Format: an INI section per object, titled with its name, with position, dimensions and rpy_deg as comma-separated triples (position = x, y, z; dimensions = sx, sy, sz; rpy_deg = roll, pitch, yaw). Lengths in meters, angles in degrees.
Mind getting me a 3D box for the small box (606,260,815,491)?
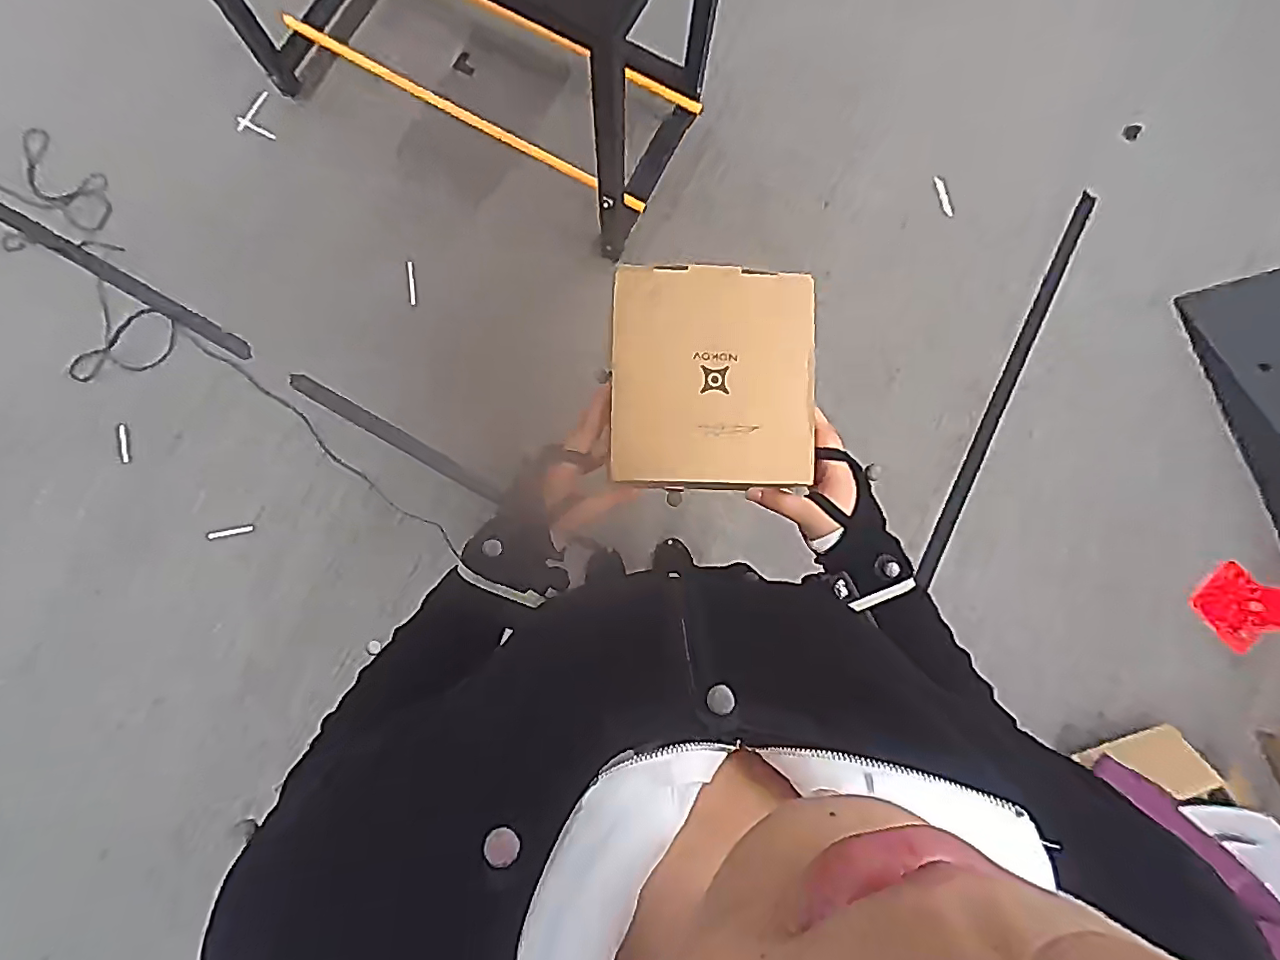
[small box]
position = 0.053, -0.082, 0.509
dimensions = 0.168, 0.176, 0.179
rpy_deg = 1, 87, -4
